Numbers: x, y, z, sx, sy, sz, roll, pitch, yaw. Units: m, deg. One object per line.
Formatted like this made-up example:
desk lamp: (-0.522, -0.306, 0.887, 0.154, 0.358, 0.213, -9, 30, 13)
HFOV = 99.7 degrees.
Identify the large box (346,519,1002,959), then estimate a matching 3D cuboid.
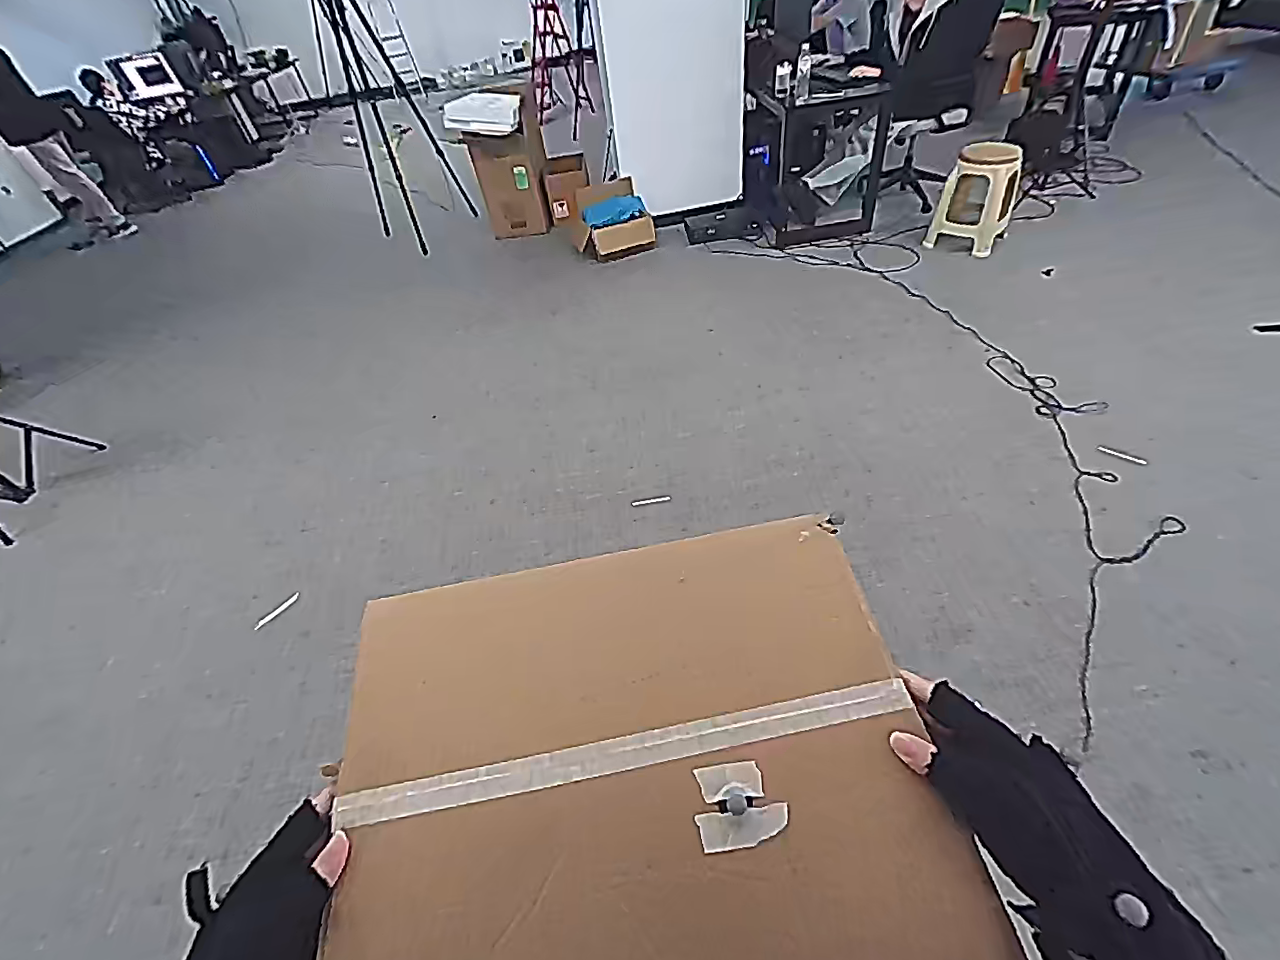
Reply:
large box: (0.006, 0.281, 0.515, 0.408, 0.320, 0.320, -11, 55, -3)
